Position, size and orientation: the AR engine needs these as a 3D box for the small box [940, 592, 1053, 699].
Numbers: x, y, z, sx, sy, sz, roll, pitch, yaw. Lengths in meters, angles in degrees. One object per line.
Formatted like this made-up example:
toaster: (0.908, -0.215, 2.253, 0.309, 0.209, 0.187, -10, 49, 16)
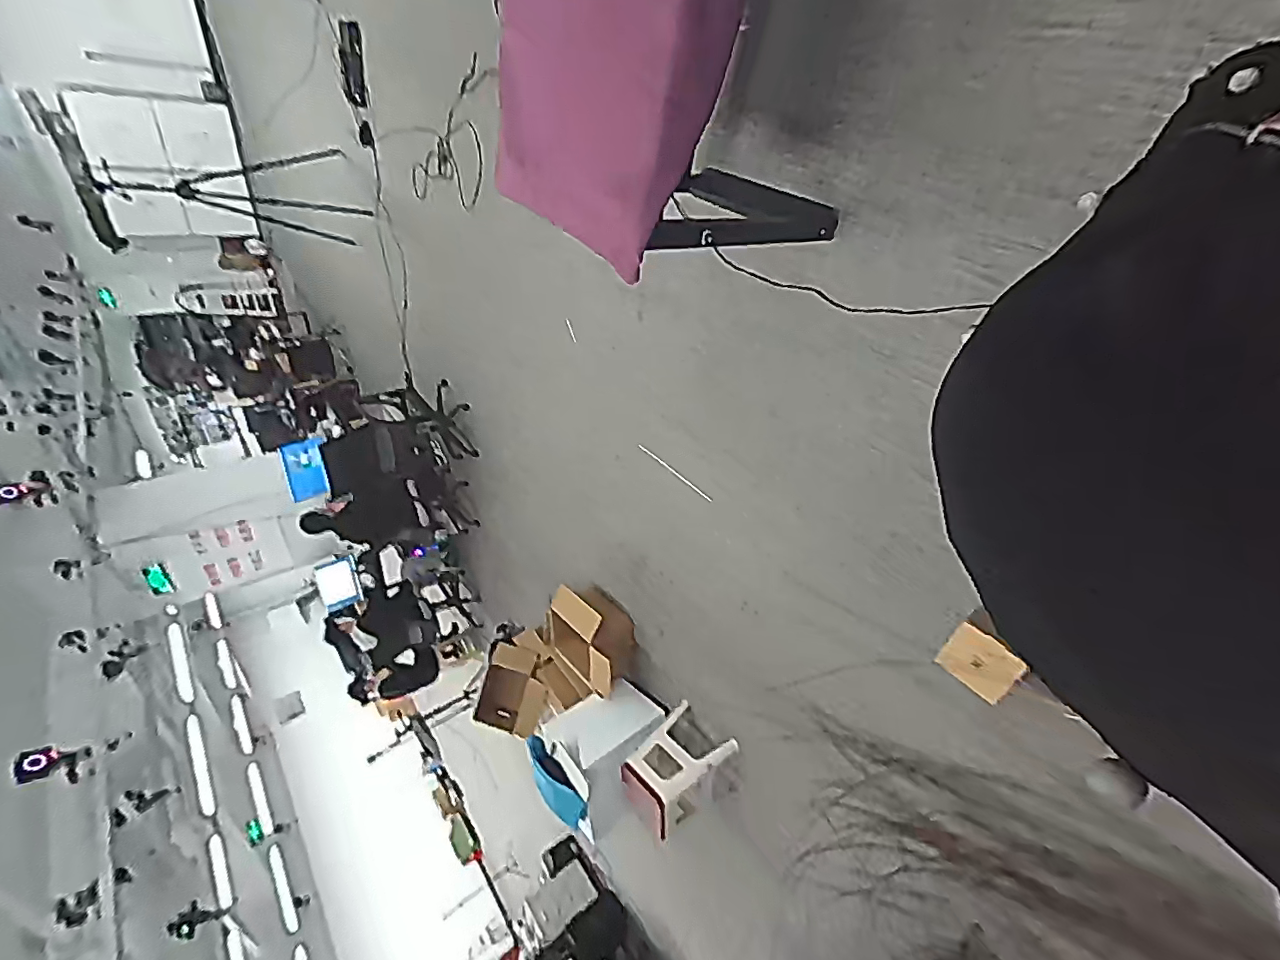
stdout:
small box: (0.947, 0.434, 1.435, 0.168, 0.176, 0.179, 41, 136, 34)
